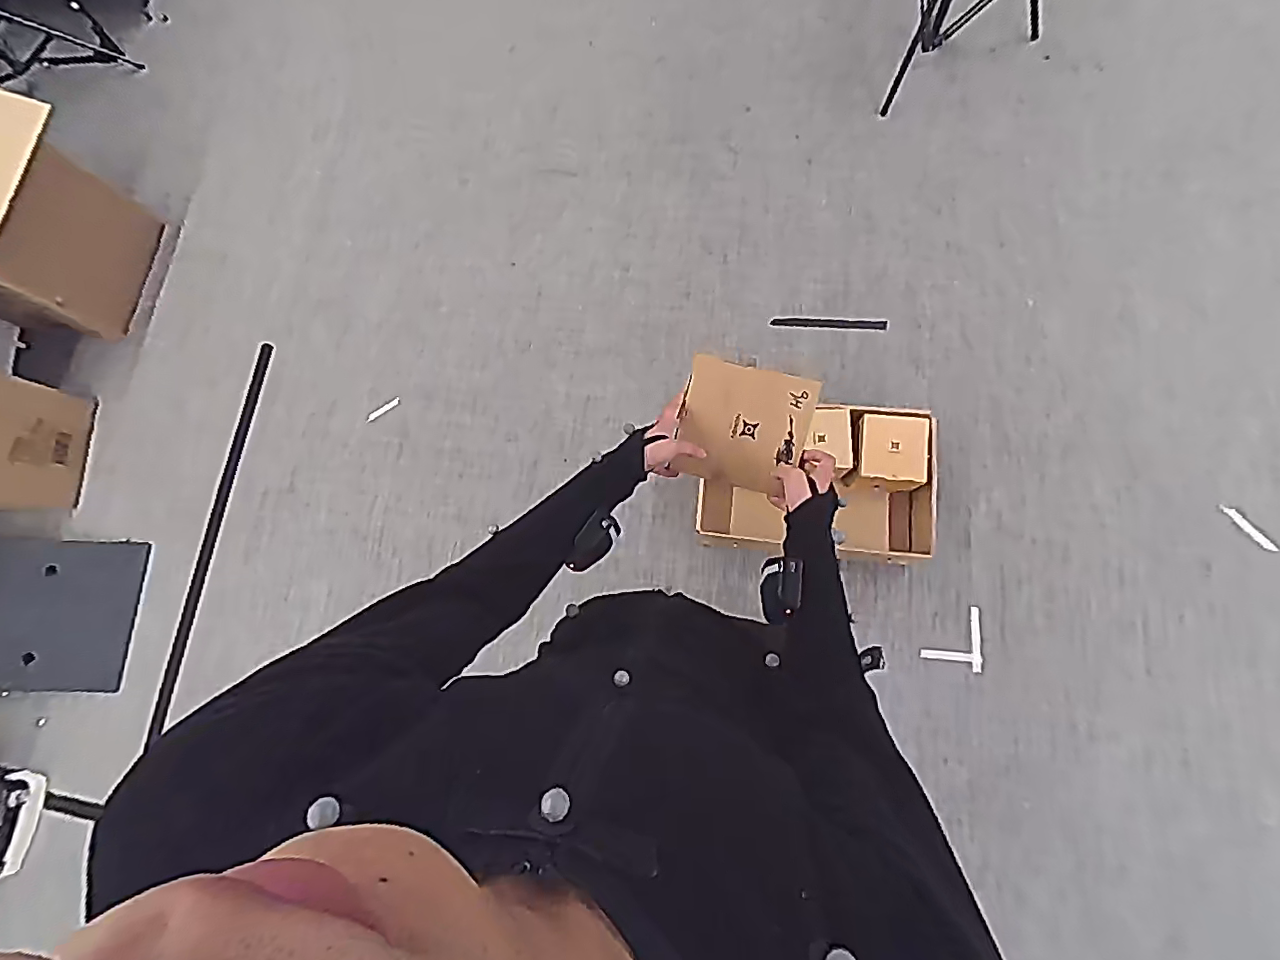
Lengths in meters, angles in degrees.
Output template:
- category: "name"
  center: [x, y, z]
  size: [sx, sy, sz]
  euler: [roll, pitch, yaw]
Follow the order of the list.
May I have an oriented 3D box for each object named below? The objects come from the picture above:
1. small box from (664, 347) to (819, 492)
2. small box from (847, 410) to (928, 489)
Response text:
- category: "small box"
  center: [0.143, -0.095, 0.813]
  size: [0.179, 0.176, 0.168]
  euler: [14, 102, 3]
- category: "small box"
  center: [0.681, -0.081, 1.503]
  size: [0.168, 0.176, 0.179]
  euler: [5, 81, 10]
